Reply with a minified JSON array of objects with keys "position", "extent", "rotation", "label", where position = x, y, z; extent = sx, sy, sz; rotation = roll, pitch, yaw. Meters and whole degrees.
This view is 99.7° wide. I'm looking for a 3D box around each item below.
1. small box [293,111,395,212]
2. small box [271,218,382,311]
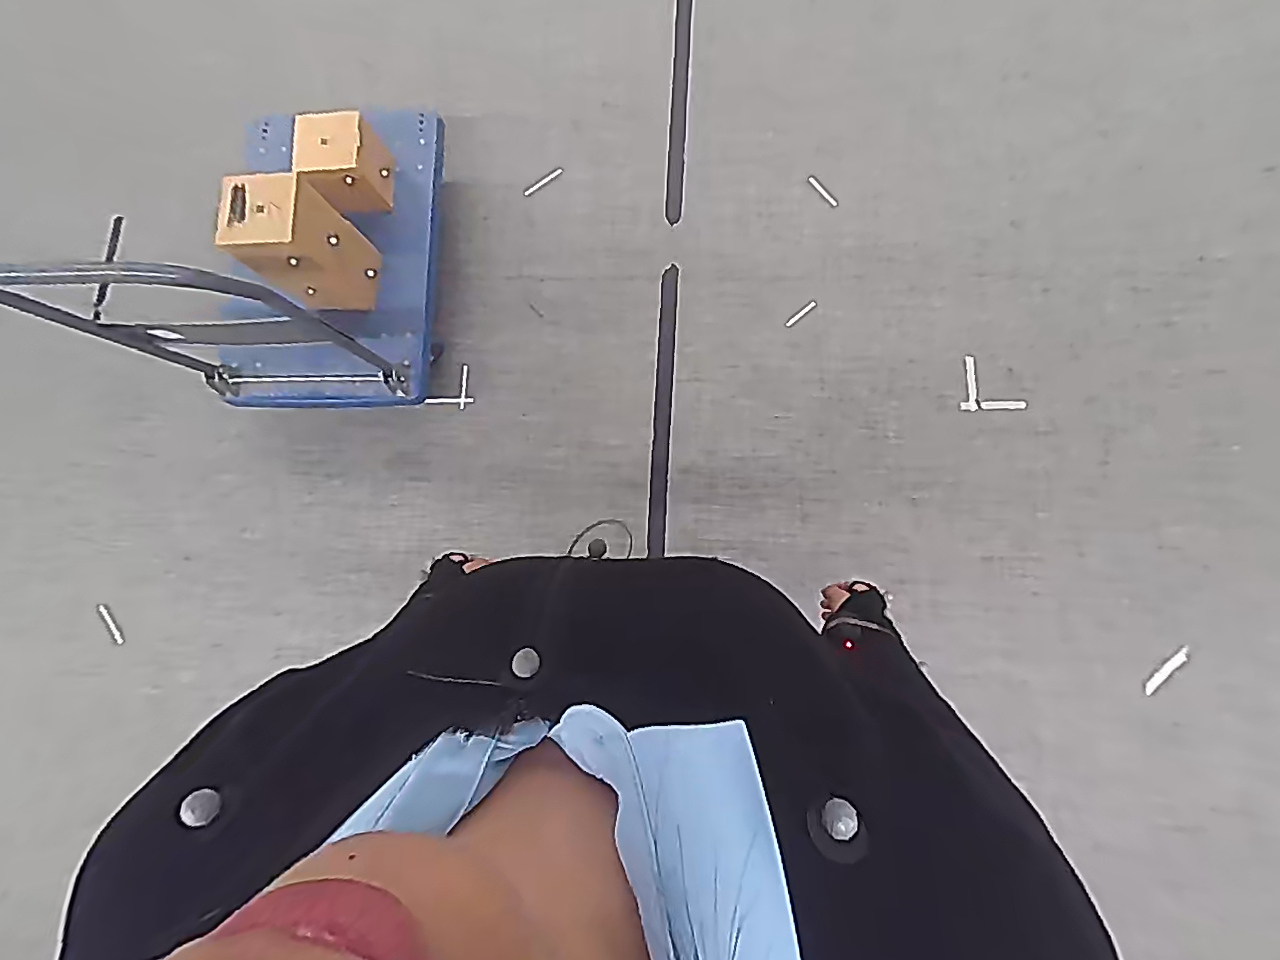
[{"position":[-0.790,-0.846,1.452],"extent":[0.179,0.176,0.168],"rotation":[-2,82,3],"label":"small box"},{"position":[-0.808,-0.555,1.409],"extent":[0.179,0.176,0.168],"rotation":[4,83,4],"label":"small box"}]
